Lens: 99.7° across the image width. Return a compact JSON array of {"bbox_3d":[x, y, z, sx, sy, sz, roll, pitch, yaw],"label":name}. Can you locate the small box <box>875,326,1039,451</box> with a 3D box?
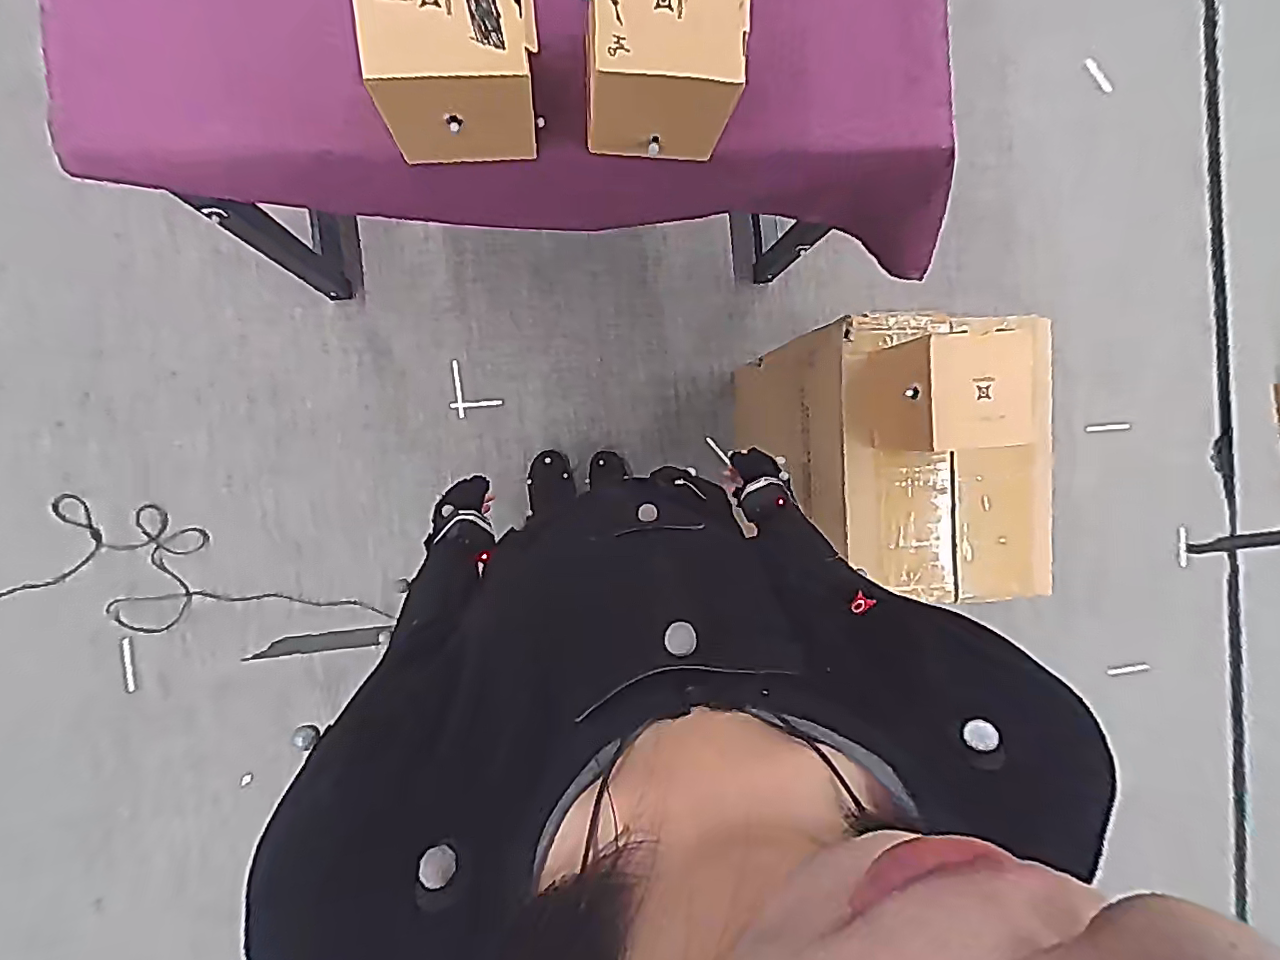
[{"bbox_3d":[0.500,-0.139,0.874,0.168,0.176,0.179,-5,94,-5],"label":"small box"}]

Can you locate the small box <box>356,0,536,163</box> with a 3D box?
[{"bbox_3d":[-0.222,-0.512,0.655,0.179,0.176,0.168,-6,92,-6],"label":"small box"}]

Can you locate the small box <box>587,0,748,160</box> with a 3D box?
[{"bbox_3d":[0.026,-0.538,0.690,0.179,0.176,0.168,-1,91,-9],"label":"small box"}]
